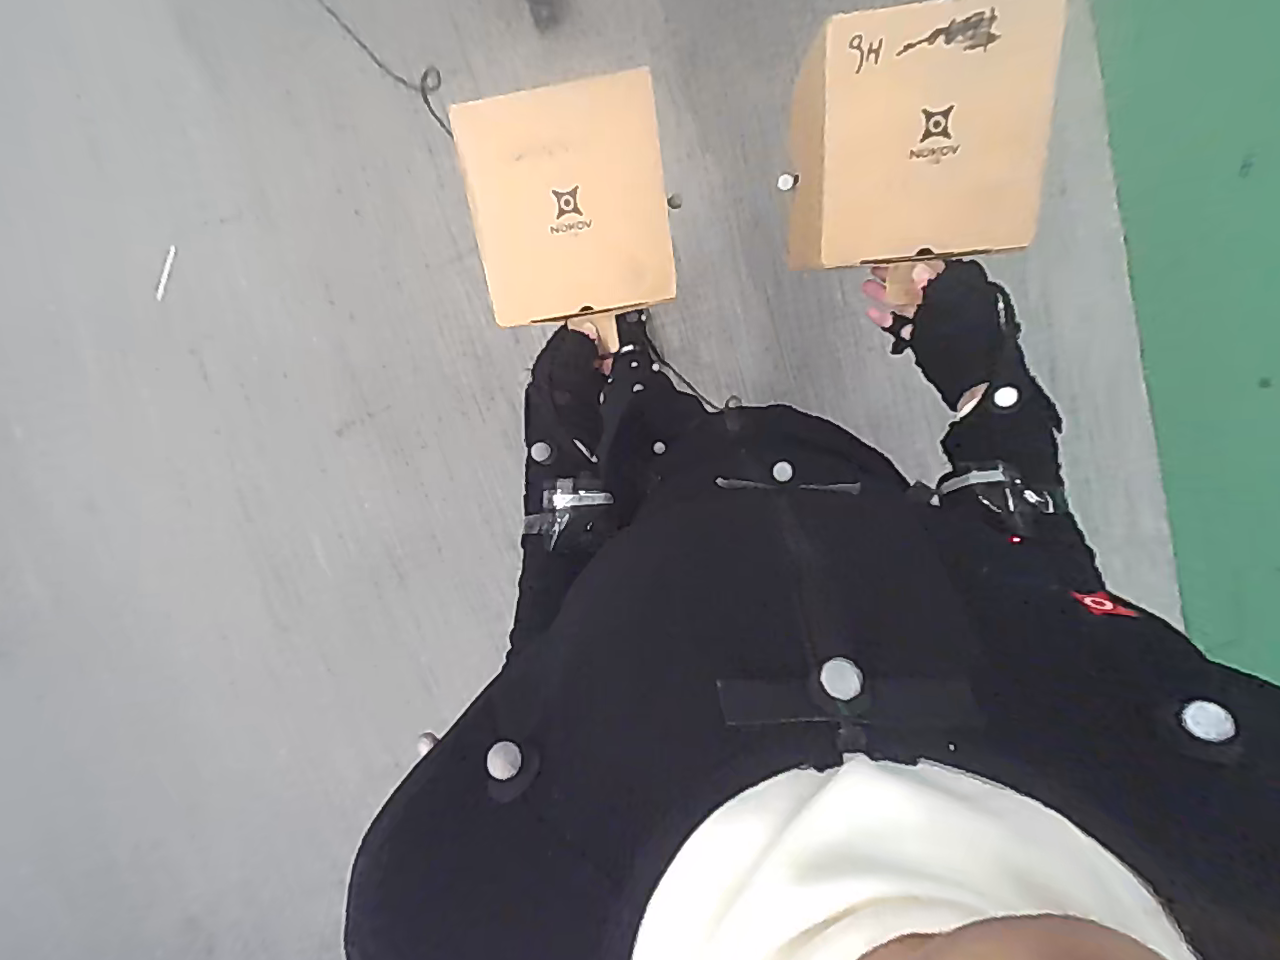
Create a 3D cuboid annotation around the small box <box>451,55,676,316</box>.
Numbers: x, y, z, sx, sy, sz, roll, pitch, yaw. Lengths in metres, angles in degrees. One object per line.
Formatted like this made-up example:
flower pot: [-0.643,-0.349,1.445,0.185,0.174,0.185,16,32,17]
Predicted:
small box: [-0.057,-0.266,0.528,0.168,0.176,0.179,-9,108,4]
